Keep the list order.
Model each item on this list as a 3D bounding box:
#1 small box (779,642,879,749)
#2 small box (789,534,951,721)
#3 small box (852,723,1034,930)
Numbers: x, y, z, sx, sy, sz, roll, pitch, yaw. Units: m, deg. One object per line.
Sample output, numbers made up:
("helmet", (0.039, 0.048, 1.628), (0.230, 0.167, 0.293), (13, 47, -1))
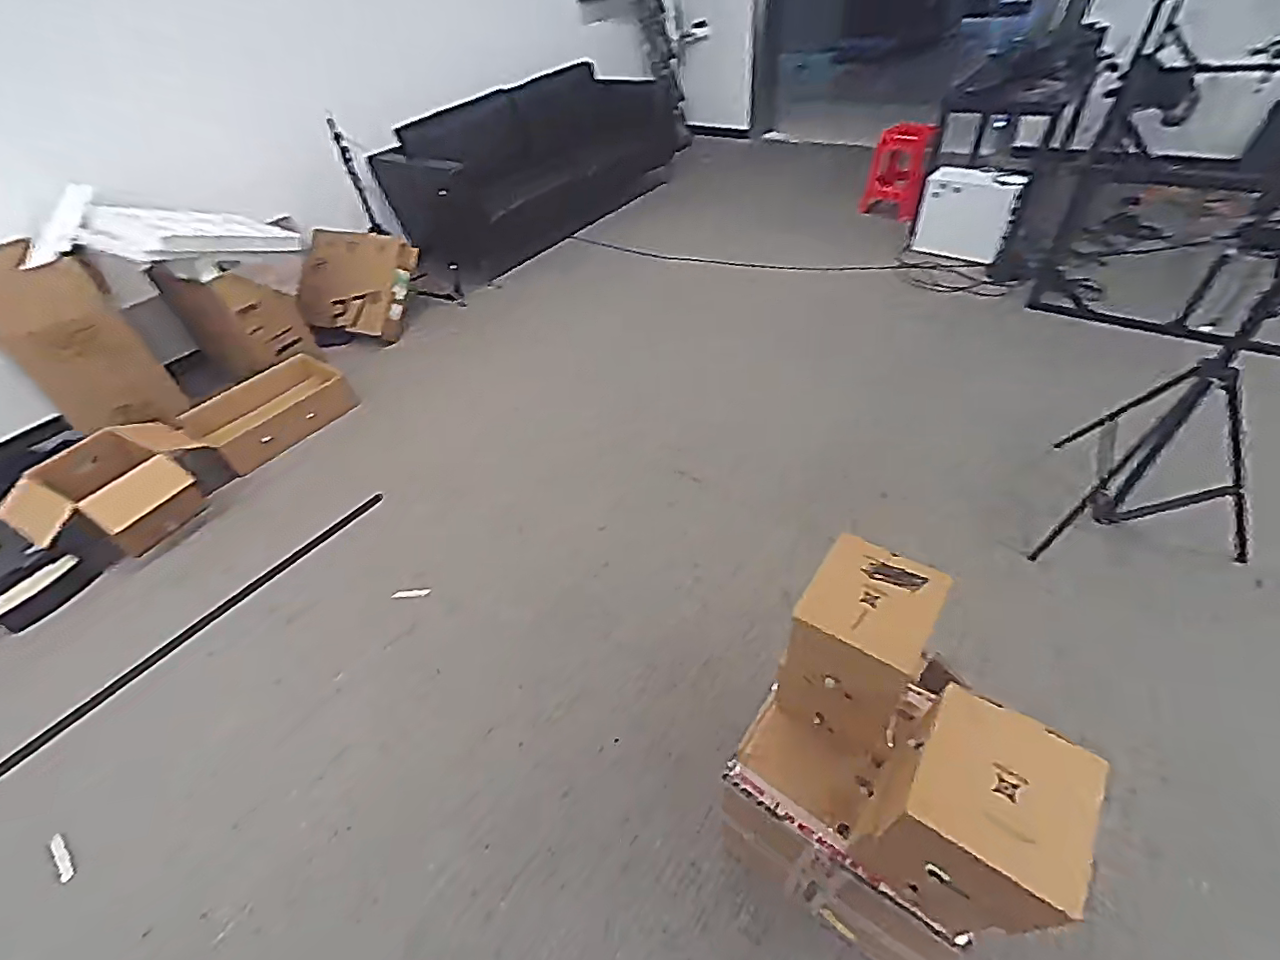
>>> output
("small box", (0.349, 0.326, 0.941), (0.168, 0.176, 0.179), (21, 54, 29))
("small box", (0.335, 0.220, 0.815), (0.168, 0.176, 0.179), (24, 56, 31))
("small box", (0.417, 0.493, 0.769), (0.168, 0.176, 0.179), (25, 55, 28))
